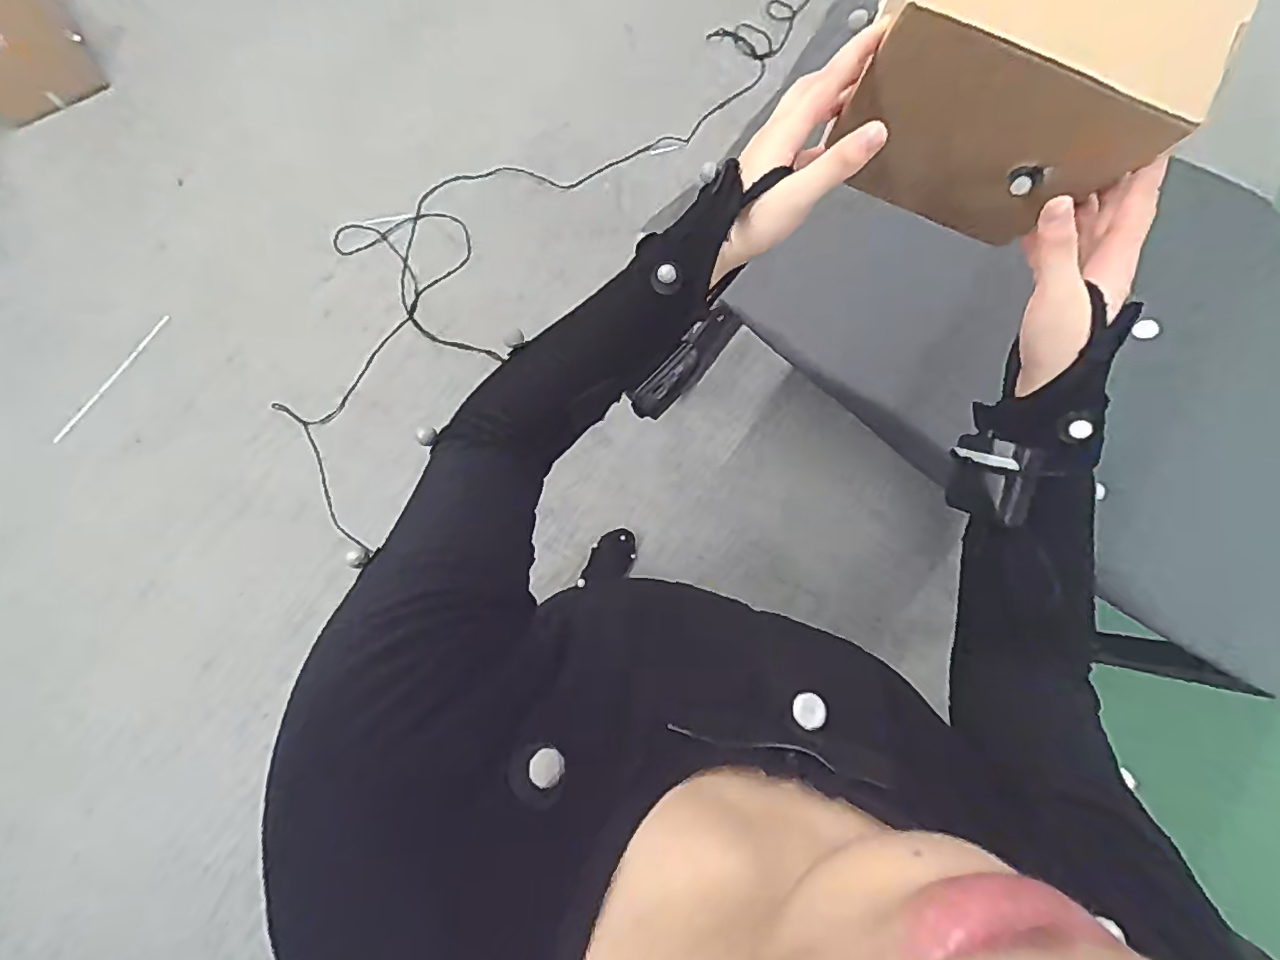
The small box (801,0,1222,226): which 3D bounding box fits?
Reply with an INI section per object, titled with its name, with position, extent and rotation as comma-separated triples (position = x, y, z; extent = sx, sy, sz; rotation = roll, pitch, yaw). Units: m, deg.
[small box]
position = 0.237, -0.303, 0.367
extent = 0.179, 0.176, 0.168
rotation = 21, 91, 1
